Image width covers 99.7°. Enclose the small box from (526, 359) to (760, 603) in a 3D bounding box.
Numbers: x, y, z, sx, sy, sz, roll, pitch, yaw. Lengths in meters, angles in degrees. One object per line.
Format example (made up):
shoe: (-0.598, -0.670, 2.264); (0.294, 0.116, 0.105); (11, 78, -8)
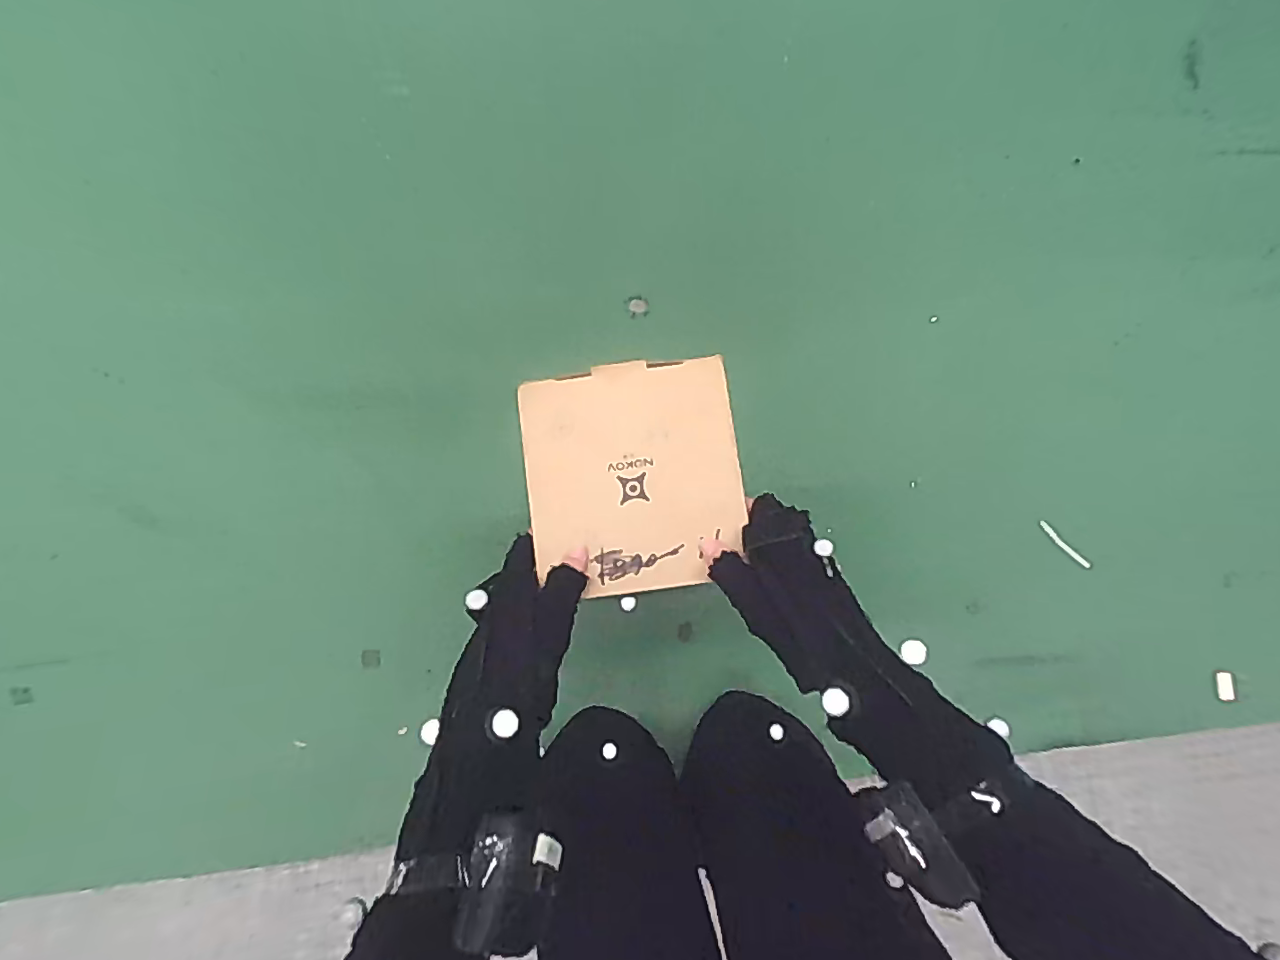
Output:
small box: (0.003, 0.010, 0.494); (0.168, 0.176, 0.179); (-8, 83, 2)
